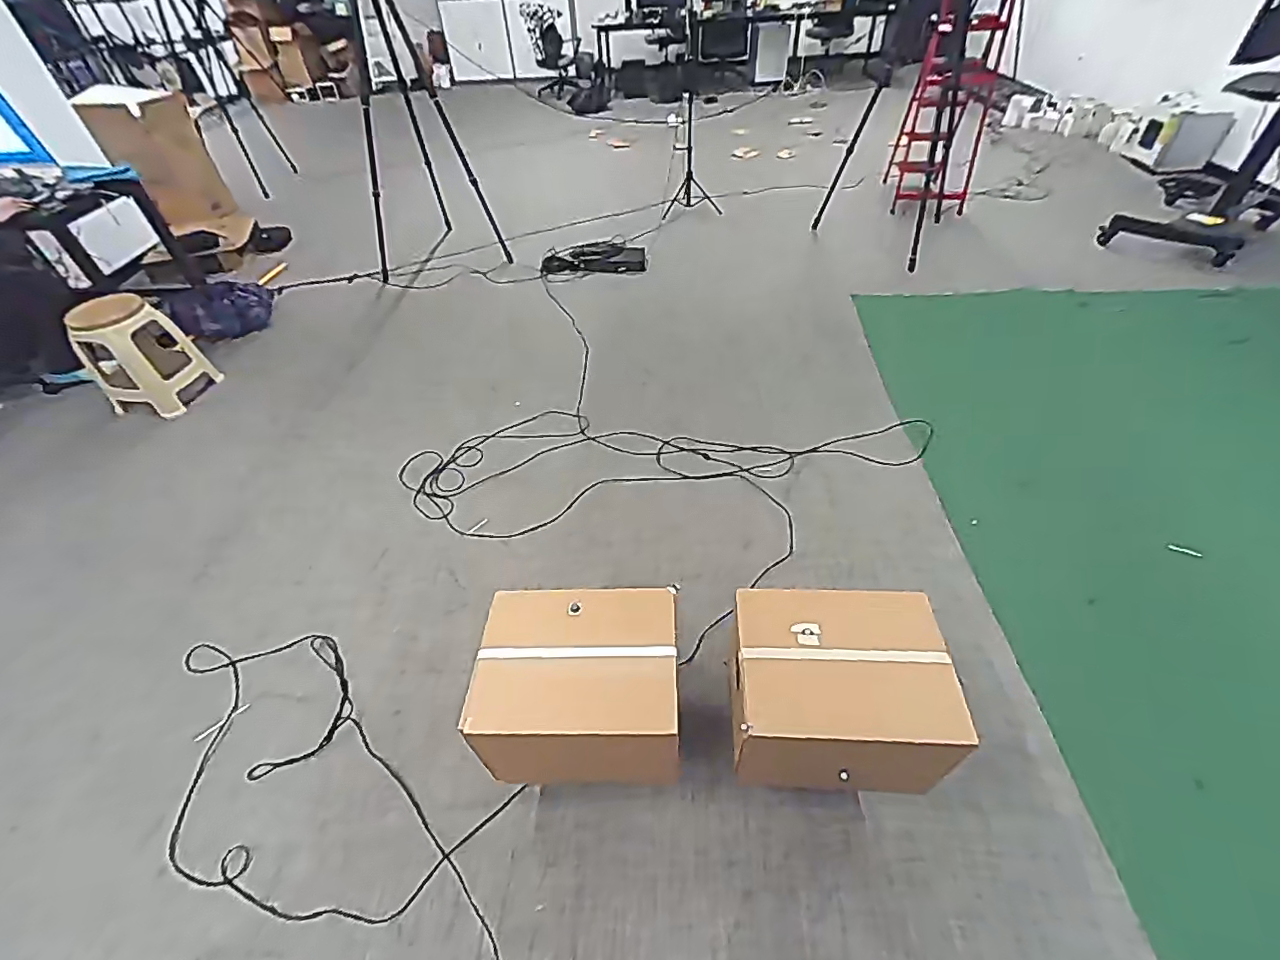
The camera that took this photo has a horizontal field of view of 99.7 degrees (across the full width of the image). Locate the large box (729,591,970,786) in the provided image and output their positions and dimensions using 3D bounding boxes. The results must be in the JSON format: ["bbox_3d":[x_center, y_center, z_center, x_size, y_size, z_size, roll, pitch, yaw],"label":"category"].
[{"bbox_3d":[0.412,0.458,1.187,0.408,0.320,0.320,0,45,5],"label":"large box"}]
